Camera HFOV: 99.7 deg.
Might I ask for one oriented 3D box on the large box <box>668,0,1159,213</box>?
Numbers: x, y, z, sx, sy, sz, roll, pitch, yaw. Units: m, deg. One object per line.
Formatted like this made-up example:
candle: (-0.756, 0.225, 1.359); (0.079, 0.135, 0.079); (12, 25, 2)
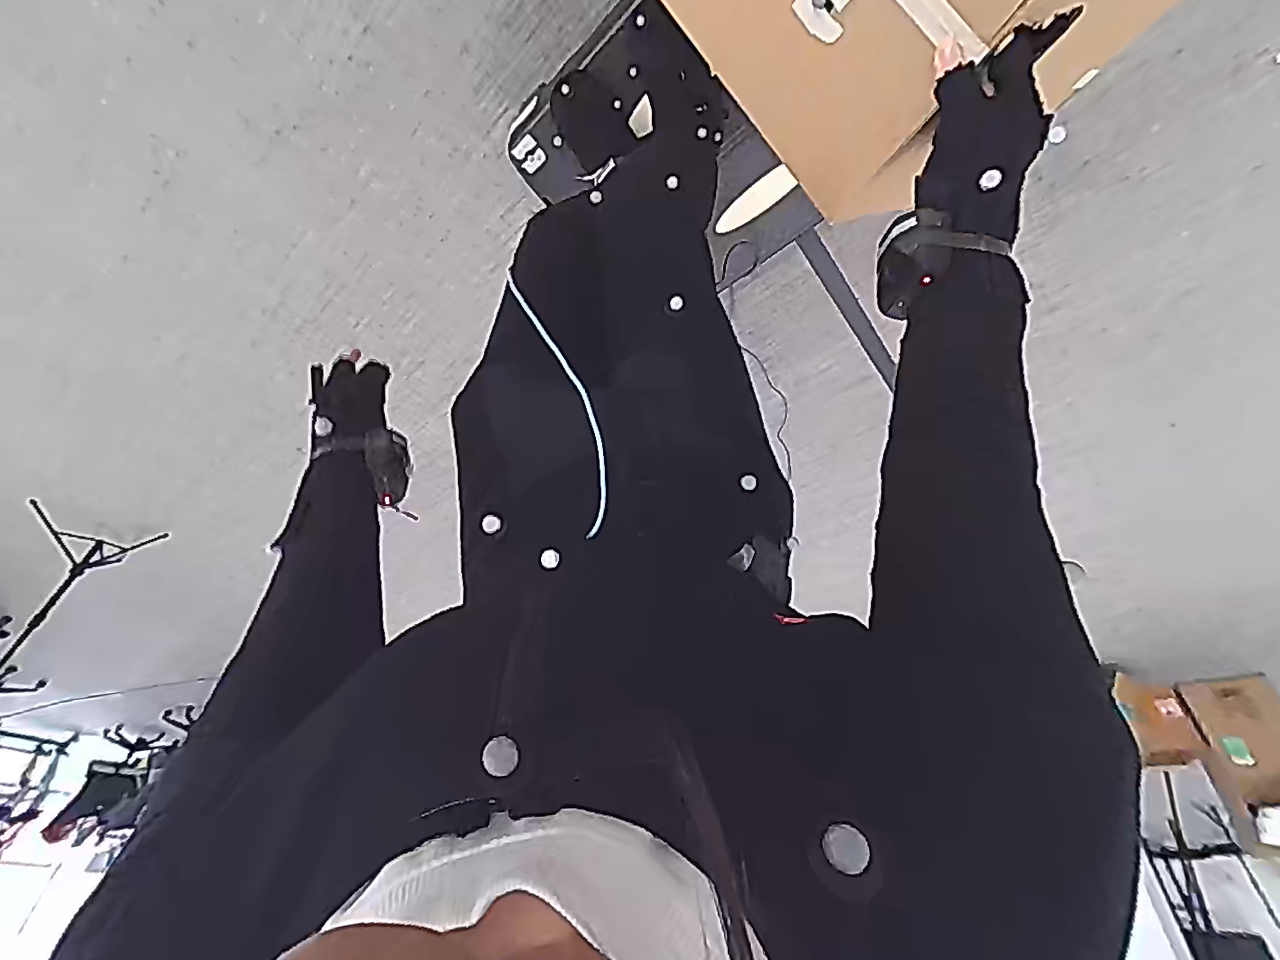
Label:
large box: (0.262, -0.544, 0.522); (0.320, 0.408, 0.320); (-29, 172, -33)

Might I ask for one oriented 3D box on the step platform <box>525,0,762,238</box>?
step platform: (0.100, -0.764, 0.963); (0.684, 0.204, 0.286); (-29, 131, 33)
